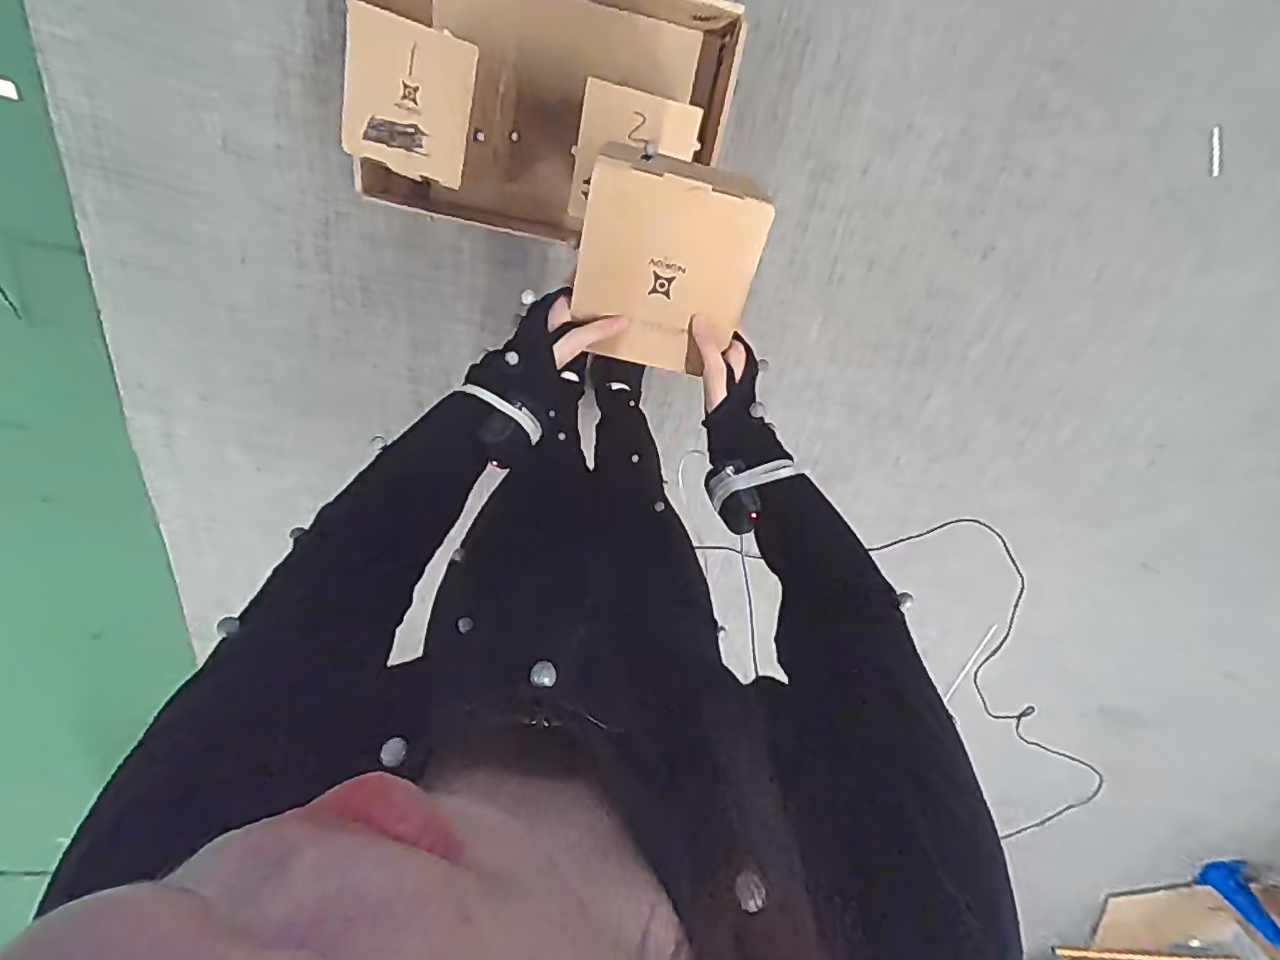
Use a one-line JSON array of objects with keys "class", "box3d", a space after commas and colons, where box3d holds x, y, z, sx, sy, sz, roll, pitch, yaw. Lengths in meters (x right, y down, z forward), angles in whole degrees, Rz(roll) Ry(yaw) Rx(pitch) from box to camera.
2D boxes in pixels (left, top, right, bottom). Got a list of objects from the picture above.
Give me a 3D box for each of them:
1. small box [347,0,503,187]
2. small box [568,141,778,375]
[{"class": "small box", "box3d": [-0.309, -0.555, 0.800, 0.168, 0.176, 0.179, 14, 117, -11]}, {"class": "small box", "box3d": [0.025, -0.243, 0.583, 0.168, 0.176, 0.179, 12, 126, -8]}]
